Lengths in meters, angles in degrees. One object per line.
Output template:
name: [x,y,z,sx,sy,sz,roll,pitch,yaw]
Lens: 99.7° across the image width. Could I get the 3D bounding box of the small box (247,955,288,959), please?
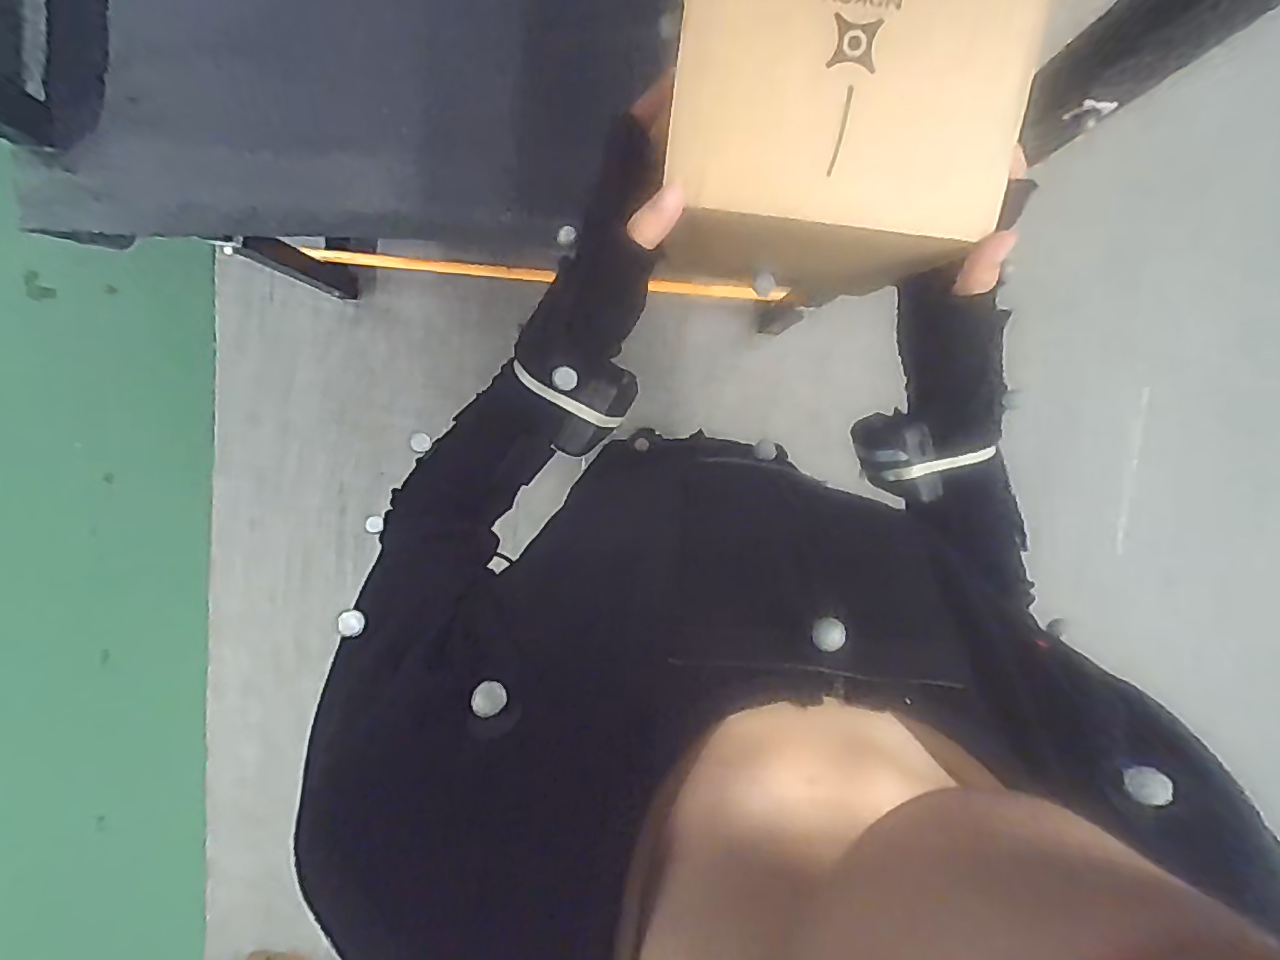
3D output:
small box: [-1.075,1.488,1.514,0.168,0.176,0.179,6,95,0]
